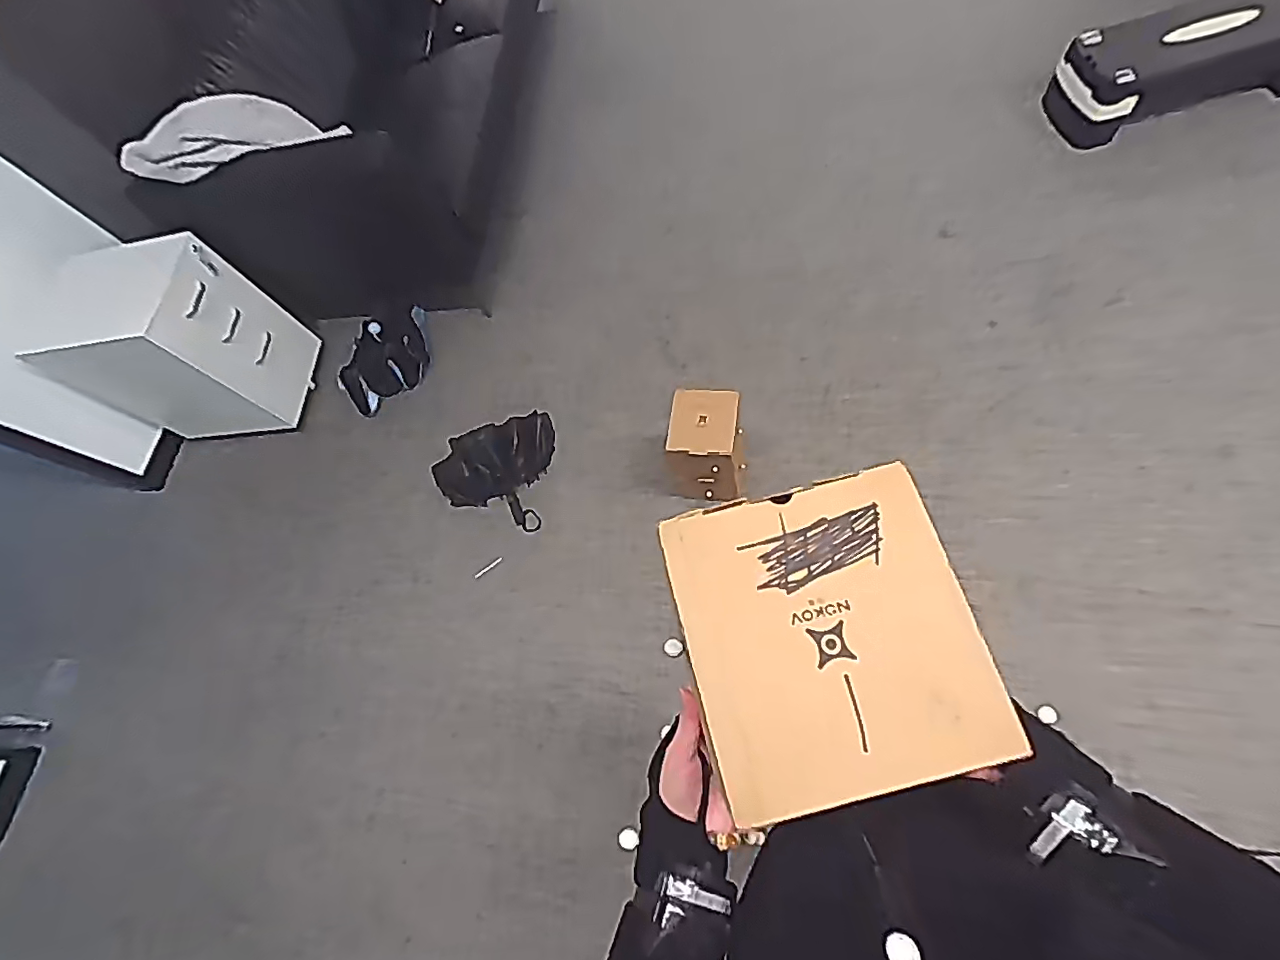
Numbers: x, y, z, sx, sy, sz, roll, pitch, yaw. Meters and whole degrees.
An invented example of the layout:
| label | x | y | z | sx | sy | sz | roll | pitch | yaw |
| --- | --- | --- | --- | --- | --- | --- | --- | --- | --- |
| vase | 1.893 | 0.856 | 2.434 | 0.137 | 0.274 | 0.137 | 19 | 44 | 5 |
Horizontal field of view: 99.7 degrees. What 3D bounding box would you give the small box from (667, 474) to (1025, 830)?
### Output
| label | x | y | z | sx | sy | sz | roll | pitch | yaw |
| --- | --- | --- | --- | --- | --- | --- | --- | --- | --- |
| small box | 0.117 | 0.118 | 0.395 | 0.168 | 0.176 | 0.179 | -14 | 71 | -1 |
